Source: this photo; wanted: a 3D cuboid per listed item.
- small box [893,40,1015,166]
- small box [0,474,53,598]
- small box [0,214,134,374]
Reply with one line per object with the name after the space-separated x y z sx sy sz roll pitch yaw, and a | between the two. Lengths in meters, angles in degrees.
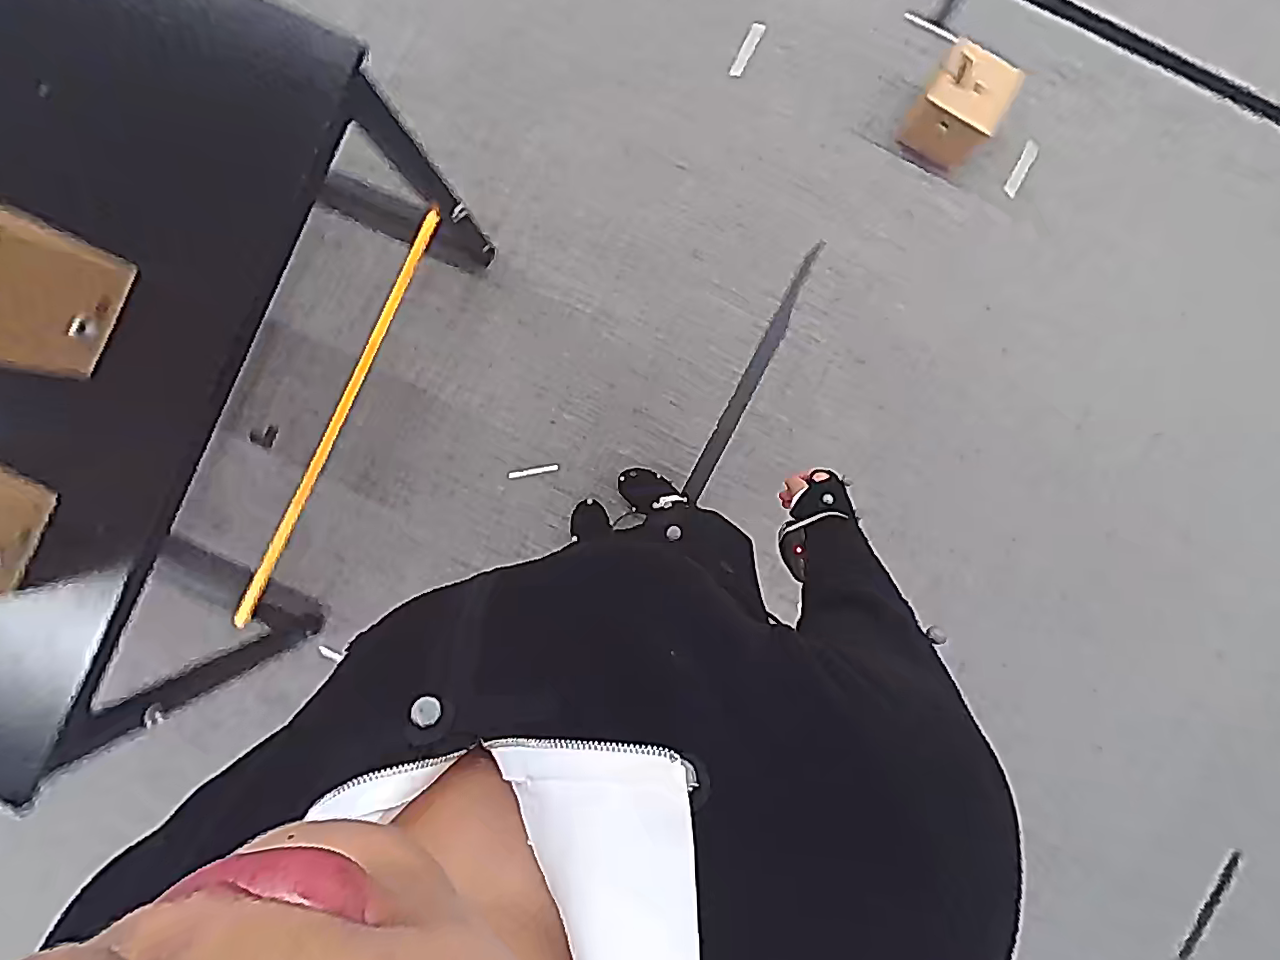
0.784 -0.943 1.373 0.179 0.176 0.168 29 92 -2 | small box
-0.942 0.067 0.690 0.179 0.176 0.168 27 92 0 | small box
-0.818 -0.247 0.681 0.179 0.176 0.168 25 93 -1 | small box
